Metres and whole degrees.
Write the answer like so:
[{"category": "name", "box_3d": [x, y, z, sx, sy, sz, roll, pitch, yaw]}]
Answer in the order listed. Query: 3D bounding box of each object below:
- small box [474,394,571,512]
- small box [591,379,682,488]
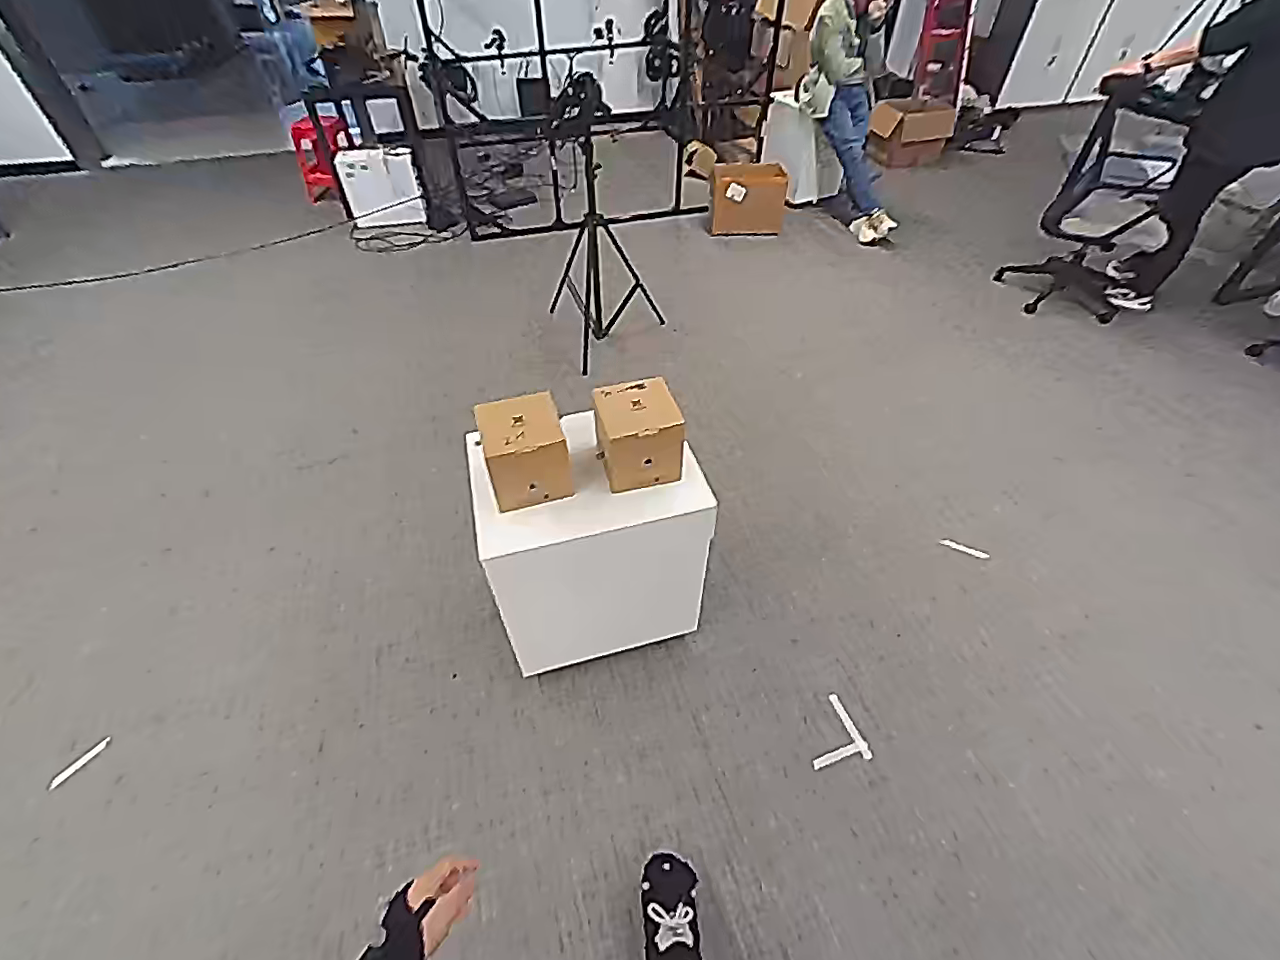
[{"category": "small box", "box_3d": [-0.254, -0.059, 1.177, 0.168, 0.176, 0.179, -14, 48, -13]}, {"category": "small box", "box_3d": [-0.010, -0.098, 1.214, 0.168, 0.176, 0.179, -11, 48, -10]}]
